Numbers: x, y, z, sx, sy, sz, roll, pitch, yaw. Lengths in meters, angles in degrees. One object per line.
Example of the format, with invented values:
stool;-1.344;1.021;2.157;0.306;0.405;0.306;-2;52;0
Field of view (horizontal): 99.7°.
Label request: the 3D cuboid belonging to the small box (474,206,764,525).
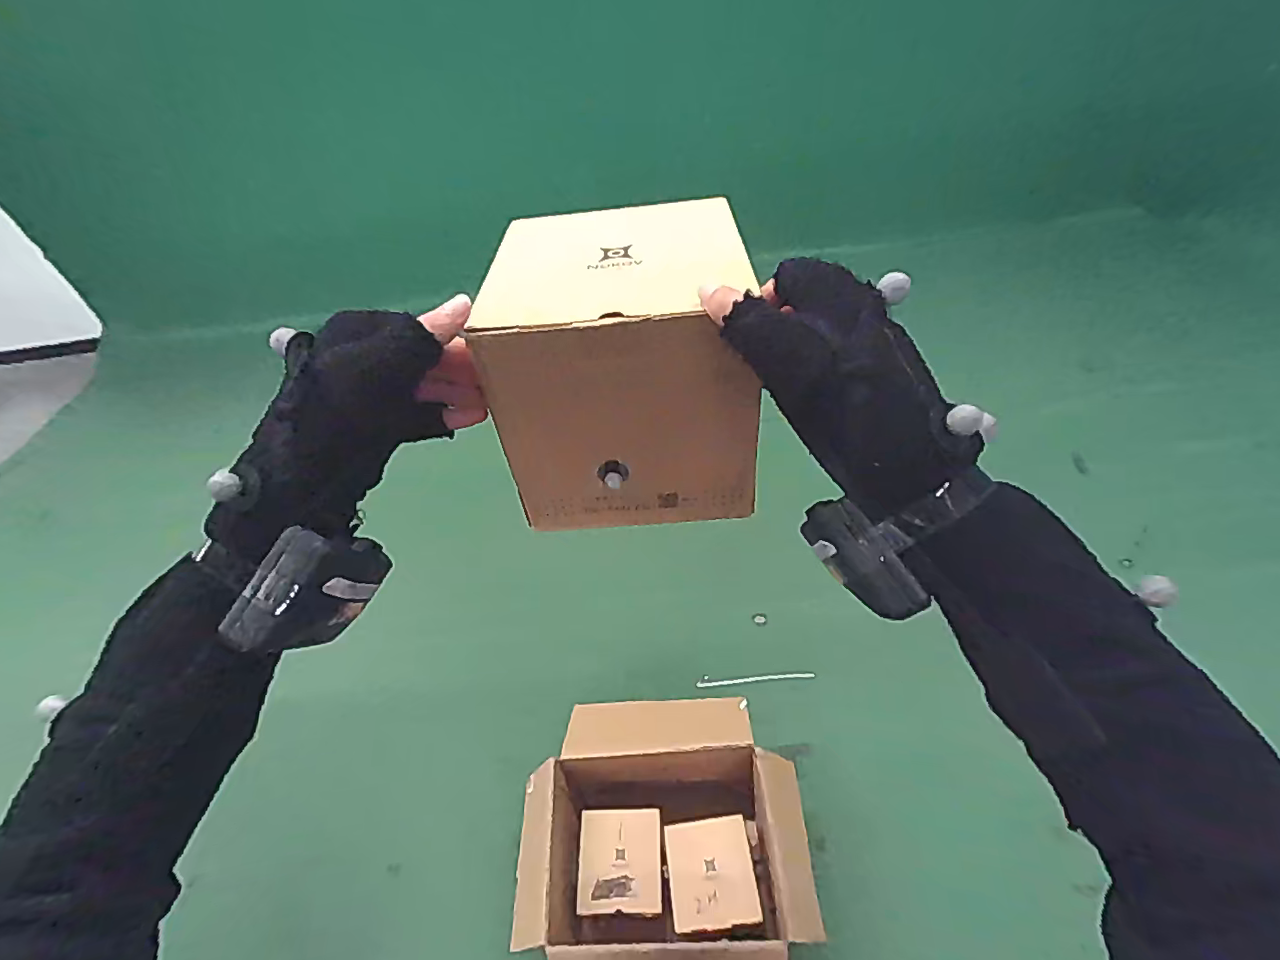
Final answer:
small box;-0.006;-0.087;0.412;0.168;0.176;0.179;-4;44;4
